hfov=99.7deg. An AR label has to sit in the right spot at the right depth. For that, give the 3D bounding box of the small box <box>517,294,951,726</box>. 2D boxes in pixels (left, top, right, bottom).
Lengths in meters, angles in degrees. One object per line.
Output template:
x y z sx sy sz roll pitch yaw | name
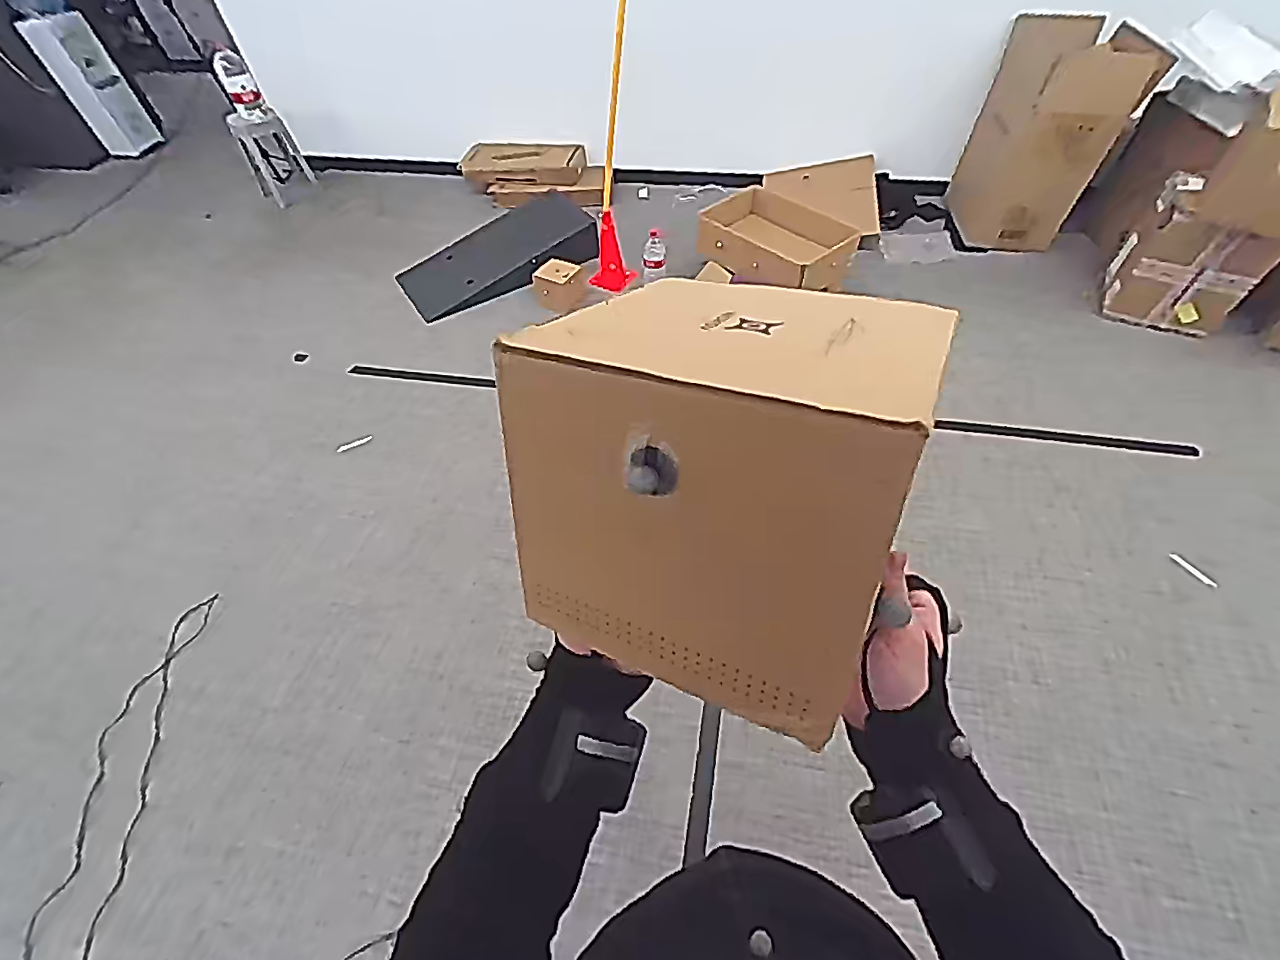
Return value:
0.054 0.002 0.311 0.179 0.176 0.168 17 35 23 | small box
